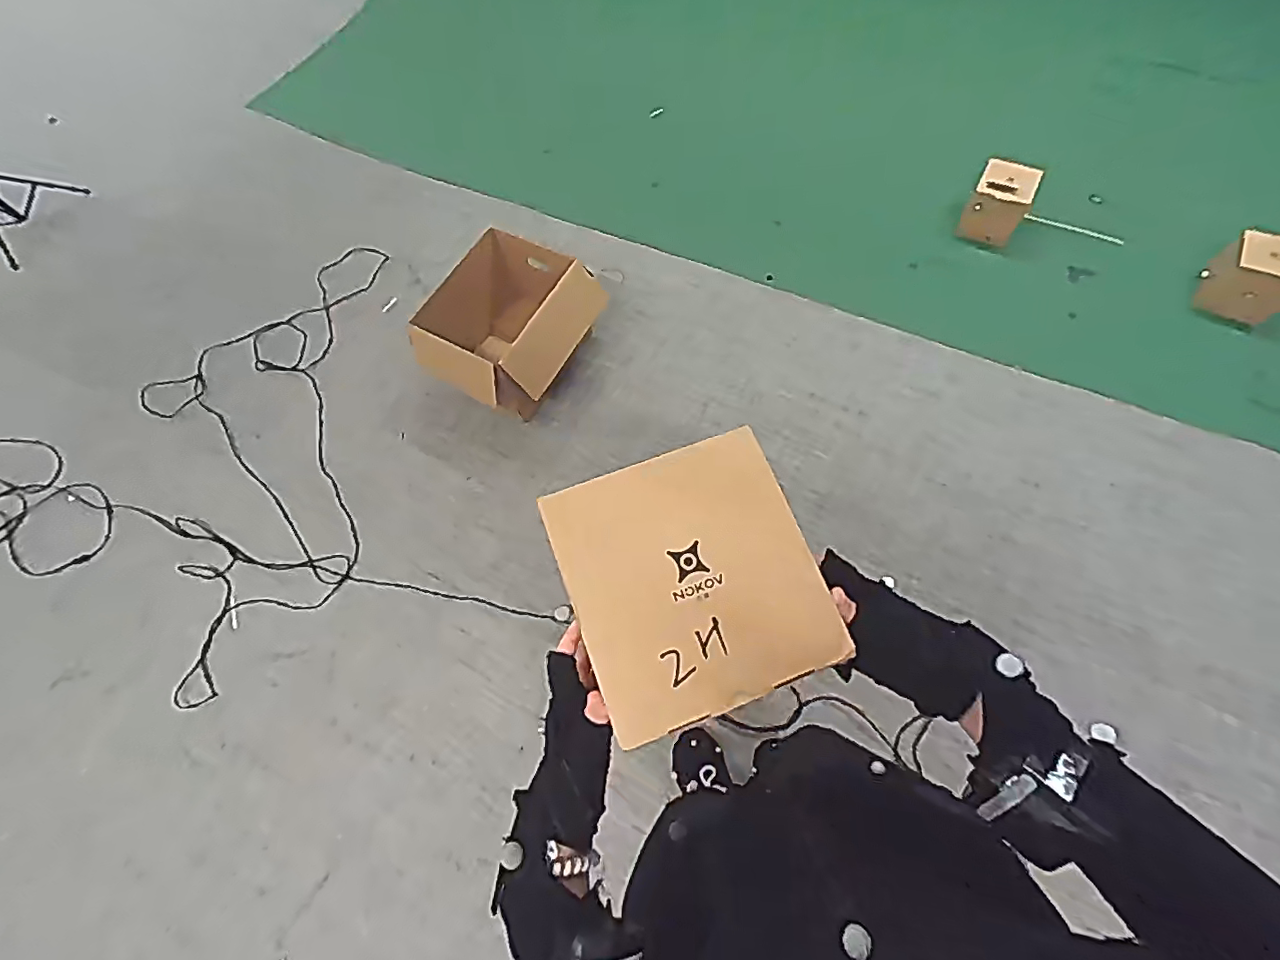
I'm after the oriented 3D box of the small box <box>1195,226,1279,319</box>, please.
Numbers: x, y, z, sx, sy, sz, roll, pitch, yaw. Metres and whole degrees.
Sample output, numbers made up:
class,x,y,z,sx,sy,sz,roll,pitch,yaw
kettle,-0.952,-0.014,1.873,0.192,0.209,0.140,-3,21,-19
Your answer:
class,x,y,z,sx,sy,sz,roll,pitch,yaw
small box,1.820,-0.604,1.596,0.179,0.176,0.168,25,70,15

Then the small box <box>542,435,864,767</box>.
class,x,y,z,sx,sy,sz,roll,pitch,yaw
small box,0.034,0.093,0.427,0.168,0.176,0.179,-19,74,-7
